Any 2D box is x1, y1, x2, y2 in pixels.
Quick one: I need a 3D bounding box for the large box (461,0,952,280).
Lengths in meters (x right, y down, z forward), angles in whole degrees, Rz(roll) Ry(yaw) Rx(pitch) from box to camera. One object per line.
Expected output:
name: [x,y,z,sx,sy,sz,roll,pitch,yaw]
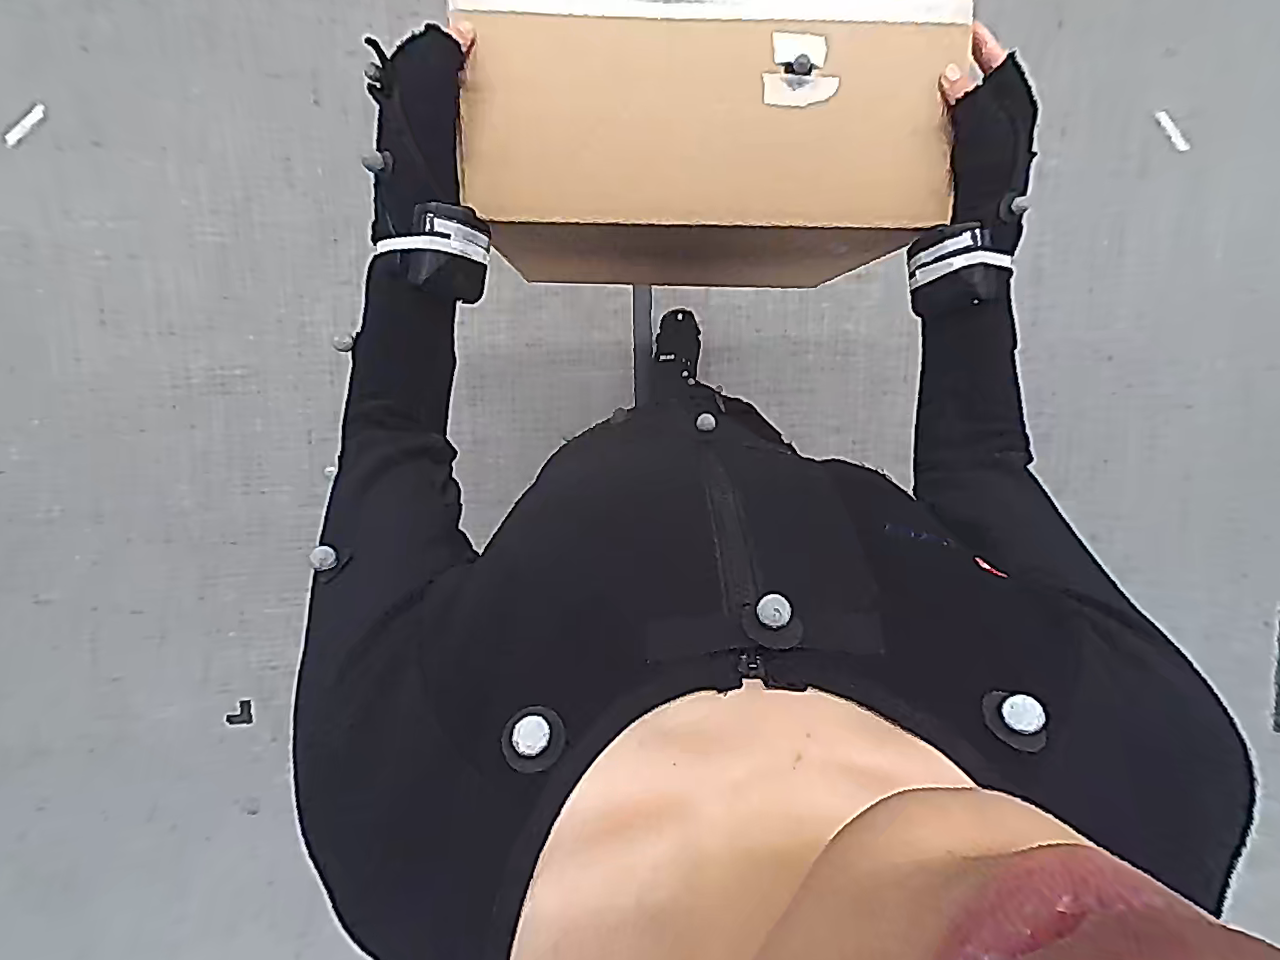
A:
large box: [0.047,-0.404,0.579,0.408,0.320,0.320,-1,102,-3]
